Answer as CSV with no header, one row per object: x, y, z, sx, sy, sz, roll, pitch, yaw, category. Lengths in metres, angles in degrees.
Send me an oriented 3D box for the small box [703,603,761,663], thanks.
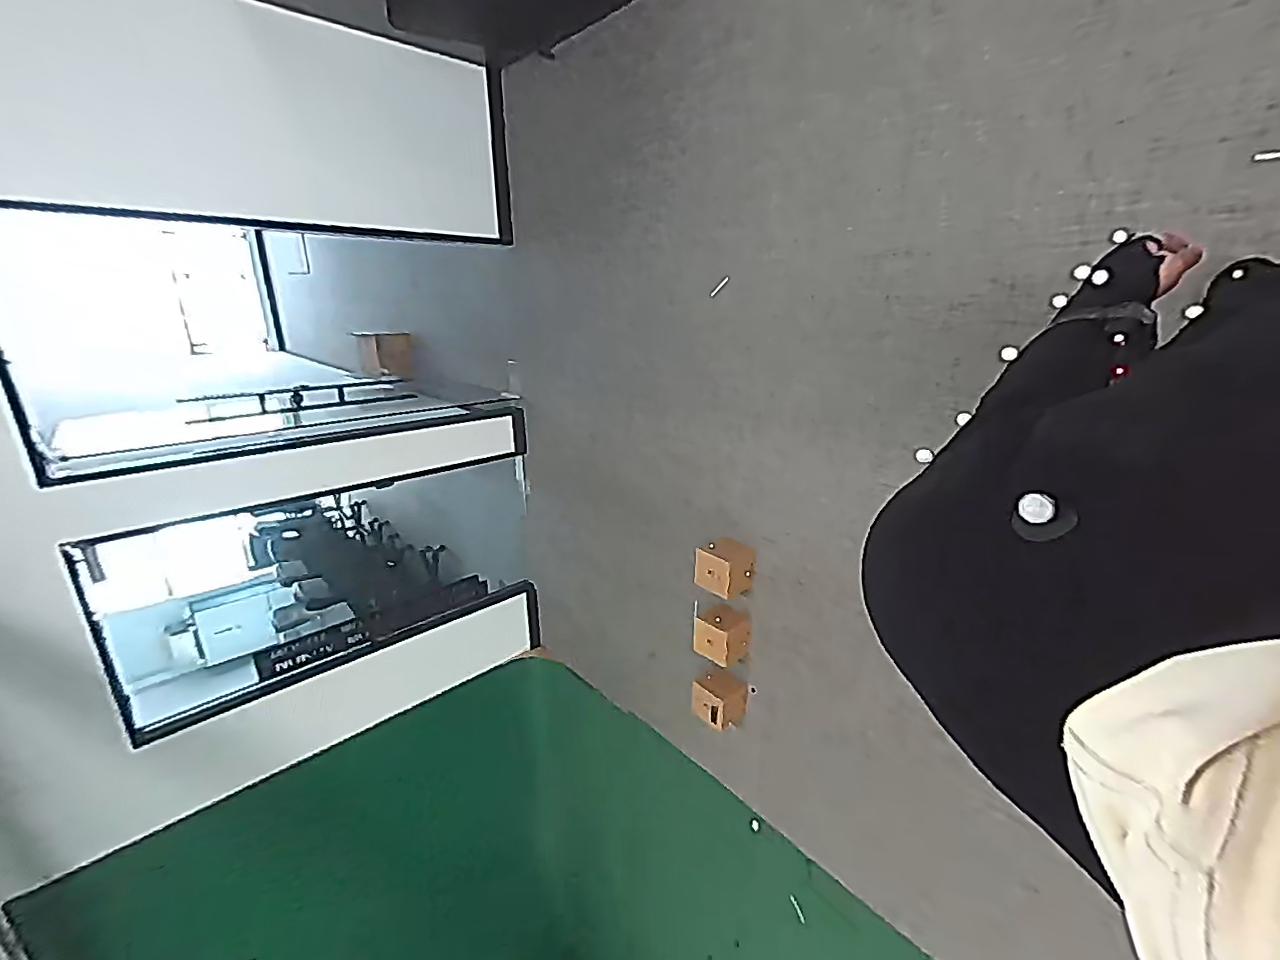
0.389,0.640,2.293,0.179,0.176,0.168,18,115,45,small box

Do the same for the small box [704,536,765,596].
0.382,0.341,2.197,0.179,0.176,0.168,22,118,44,small box
